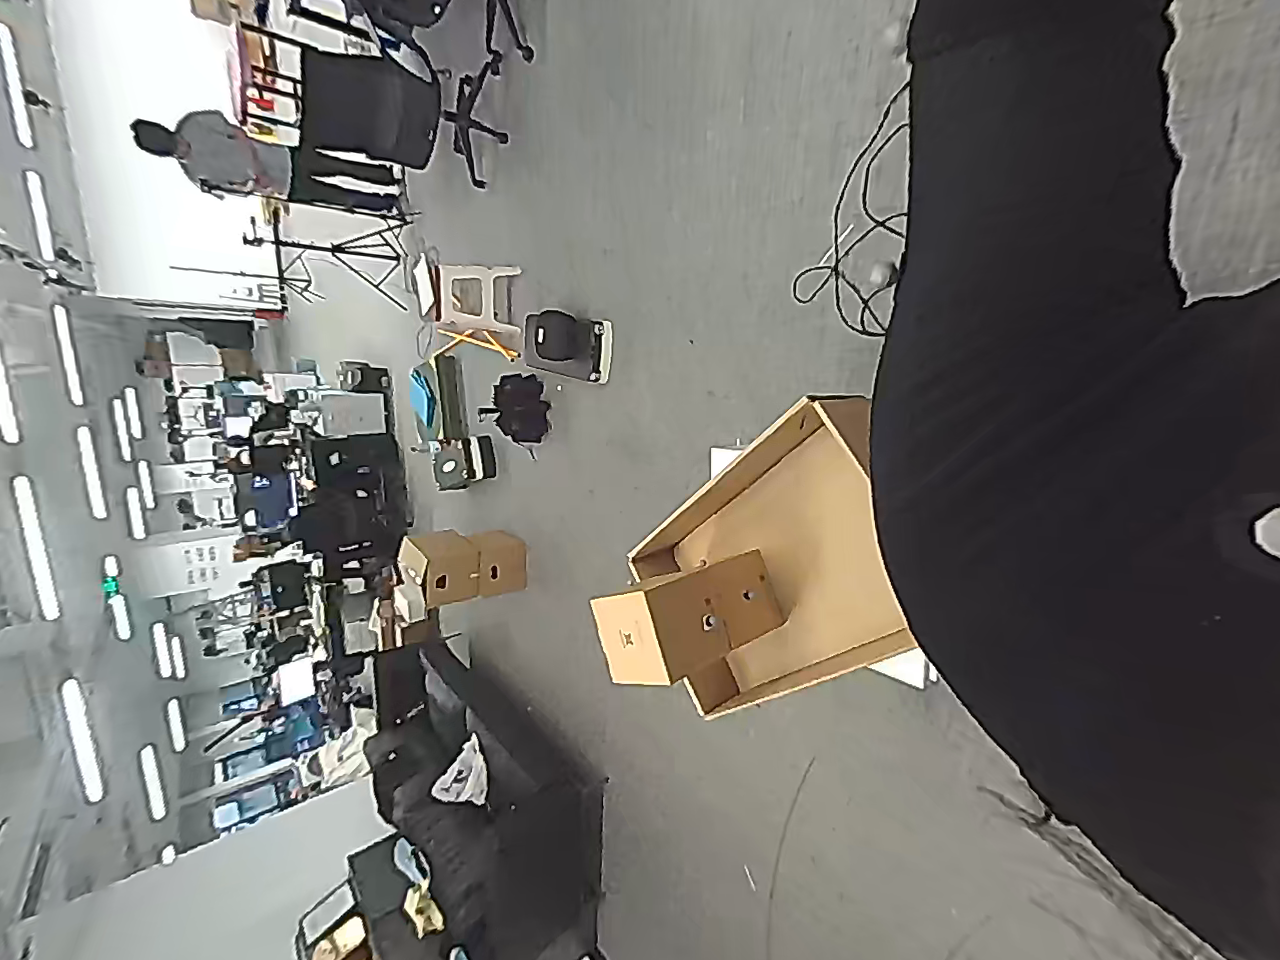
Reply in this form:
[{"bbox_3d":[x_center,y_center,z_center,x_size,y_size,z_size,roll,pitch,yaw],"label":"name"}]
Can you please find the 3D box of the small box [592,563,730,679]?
[{"bbox_3d":[0.039,0.267,1.035,0.179,0.176,0.168,-24,81,49],"label":"small box"}]
